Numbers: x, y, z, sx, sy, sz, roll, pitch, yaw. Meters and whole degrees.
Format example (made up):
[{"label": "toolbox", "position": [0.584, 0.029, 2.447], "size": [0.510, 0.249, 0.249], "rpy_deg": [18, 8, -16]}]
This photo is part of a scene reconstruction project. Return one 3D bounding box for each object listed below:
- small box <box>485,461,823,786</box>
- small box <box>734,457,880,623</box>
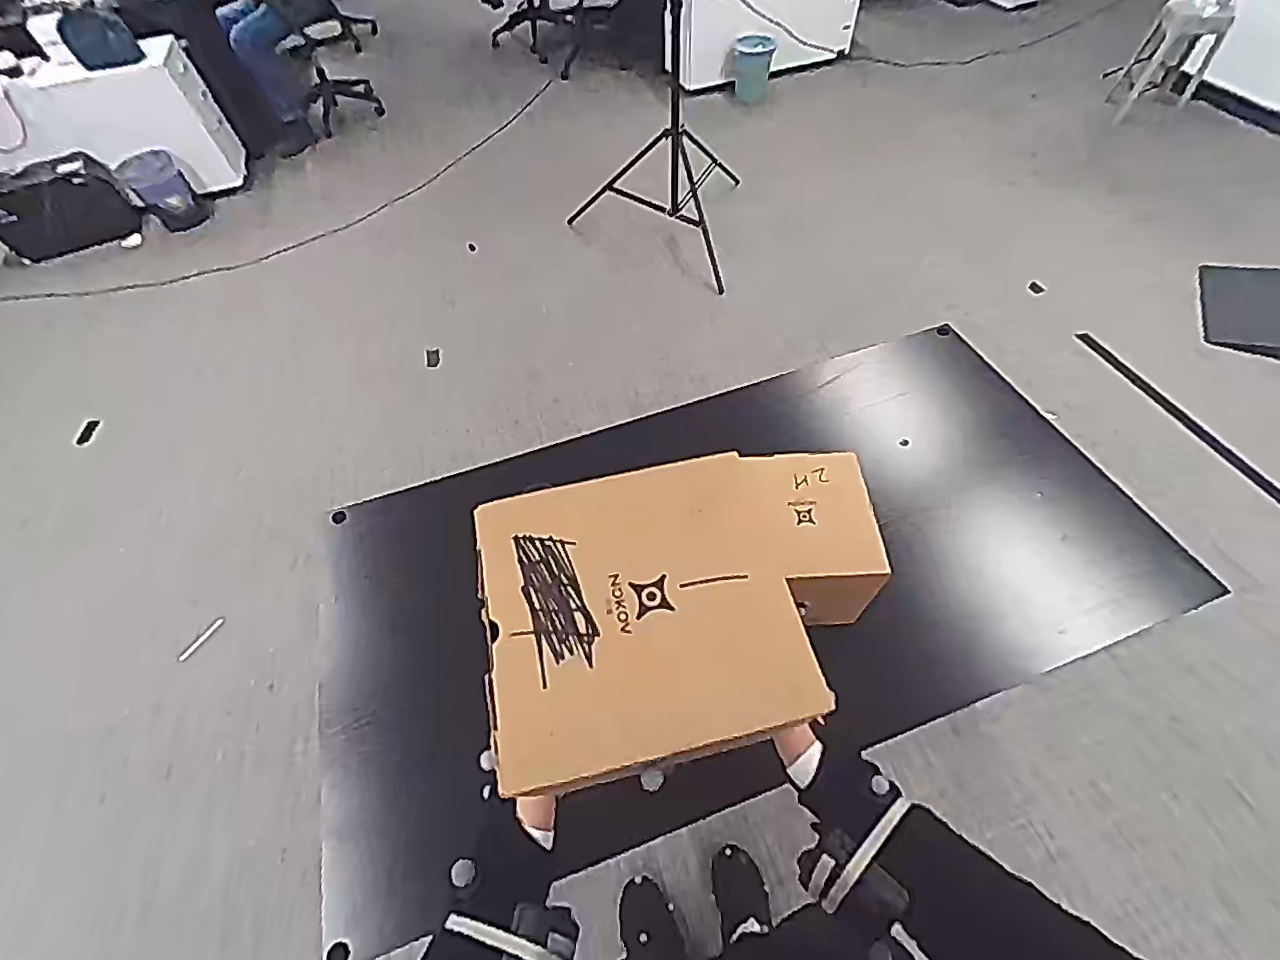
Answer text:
[{"label": "small box", "position": [0.001, 0.112, 0.390], "size": [0.179, 0.176, 0.168], "rpy_deg": [-11, 61, -5]}, {"label": "small box", "position": [0.201, 0.089, 0.737], "size": [0.168, 0.176, 0.179], "rpy_deg": [-2, 55, 2]}]
